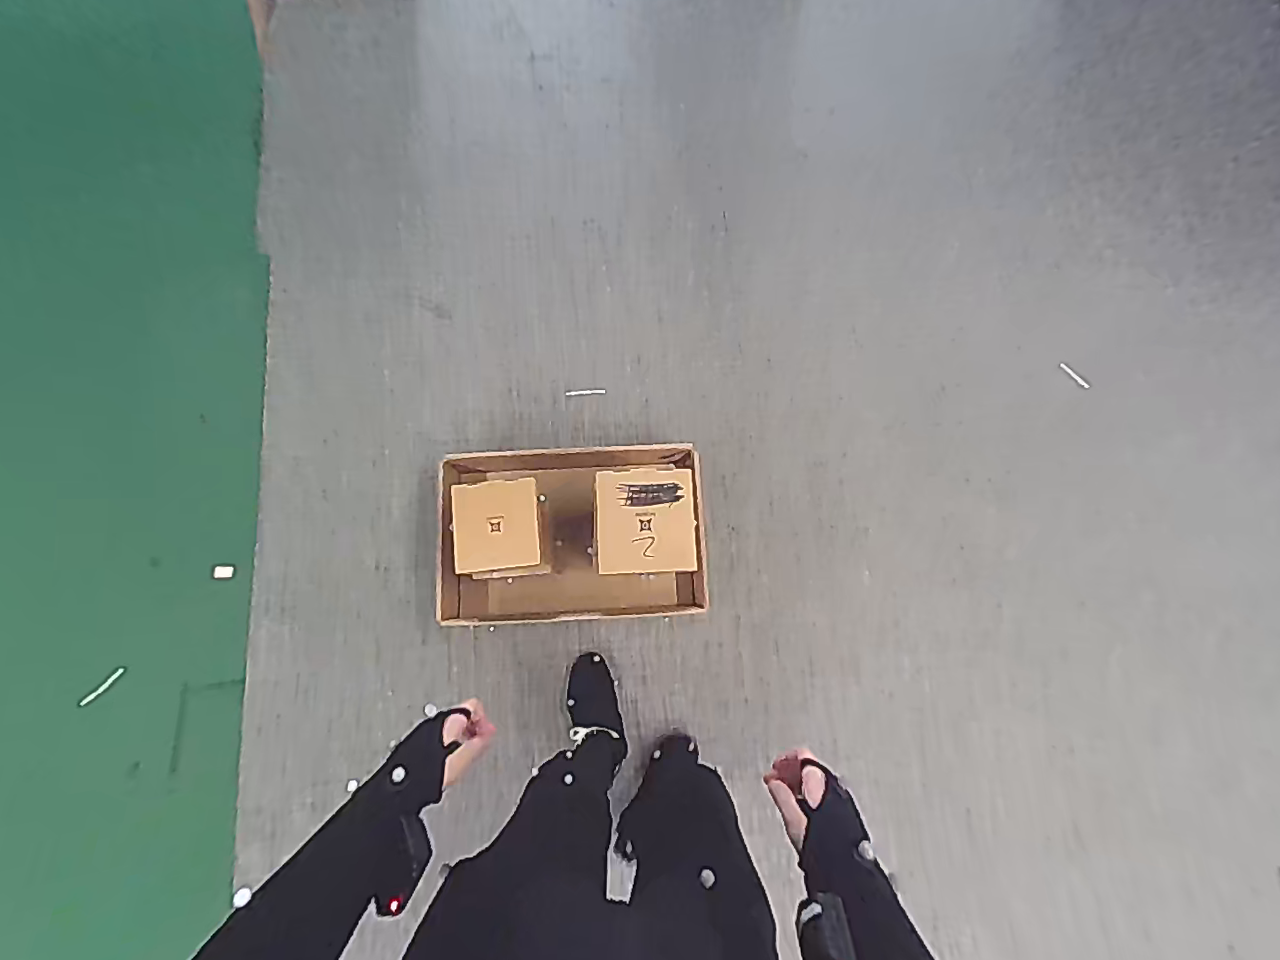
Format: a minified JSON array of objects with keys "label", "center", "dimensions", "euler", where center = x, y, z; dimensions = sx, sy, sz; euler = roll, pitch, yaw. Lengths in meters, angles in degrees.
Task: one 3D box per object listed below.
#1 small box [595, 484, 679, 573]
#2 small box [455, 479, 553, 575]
[{"label":"small box","center":[-0.007,0.108,1.145],"dimensions":[0.168,0.176,0.179],"euler":[1,79,-2]},{"label":"small box","center":[-0.280,0.106,1.140],"dimensions":[0.168,0.176,0.179],"euler":[-6,78,-3]}]
